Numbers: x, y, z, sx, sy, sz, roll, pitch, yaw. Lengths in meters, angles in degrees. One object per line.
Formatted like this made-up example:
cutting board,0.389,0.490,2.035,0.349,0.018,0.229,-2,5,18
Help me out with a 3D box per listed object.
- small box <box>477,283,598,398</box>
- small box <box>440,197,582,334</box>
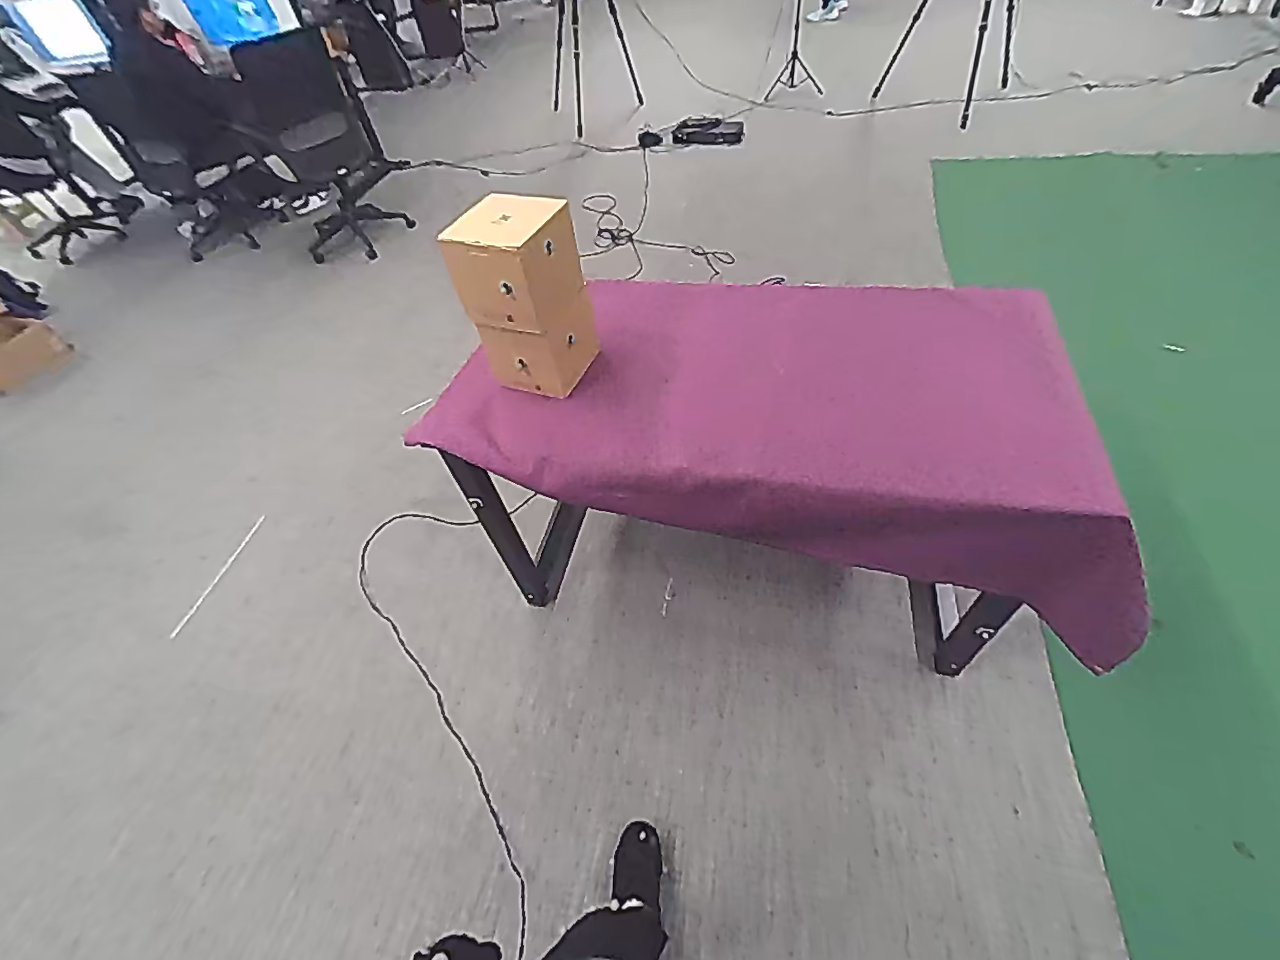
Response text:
small box,-0.200,-0.295,1.122,0.168,0.176,0.179,14,54,18
small box,-0.222,-0.392,0.992,0.168,0.176,0.179,15,54,19
